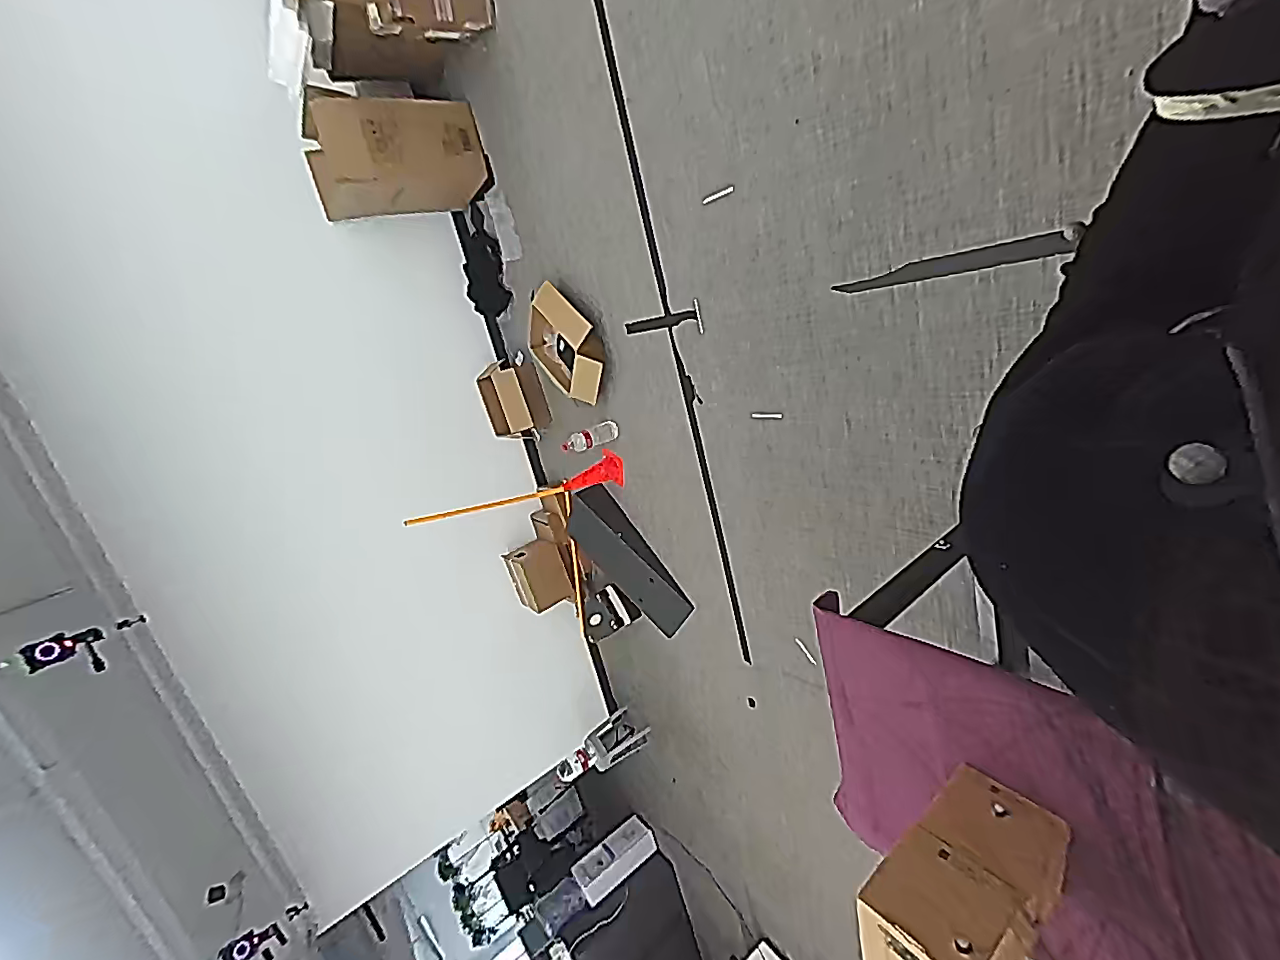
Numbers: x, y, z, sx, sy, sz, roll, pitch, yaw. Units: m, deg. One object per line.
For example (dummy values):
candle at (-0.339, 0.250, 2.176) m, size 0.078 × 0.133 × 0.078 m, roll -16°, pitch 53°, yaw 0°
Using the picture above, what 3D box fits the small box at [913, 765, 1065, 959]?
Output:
small box at (0.586, 0.635, 0.913) m, size 0.168 × 0.176 × 0.179 m, roll 18°, pitch 126°, yaw 51°
